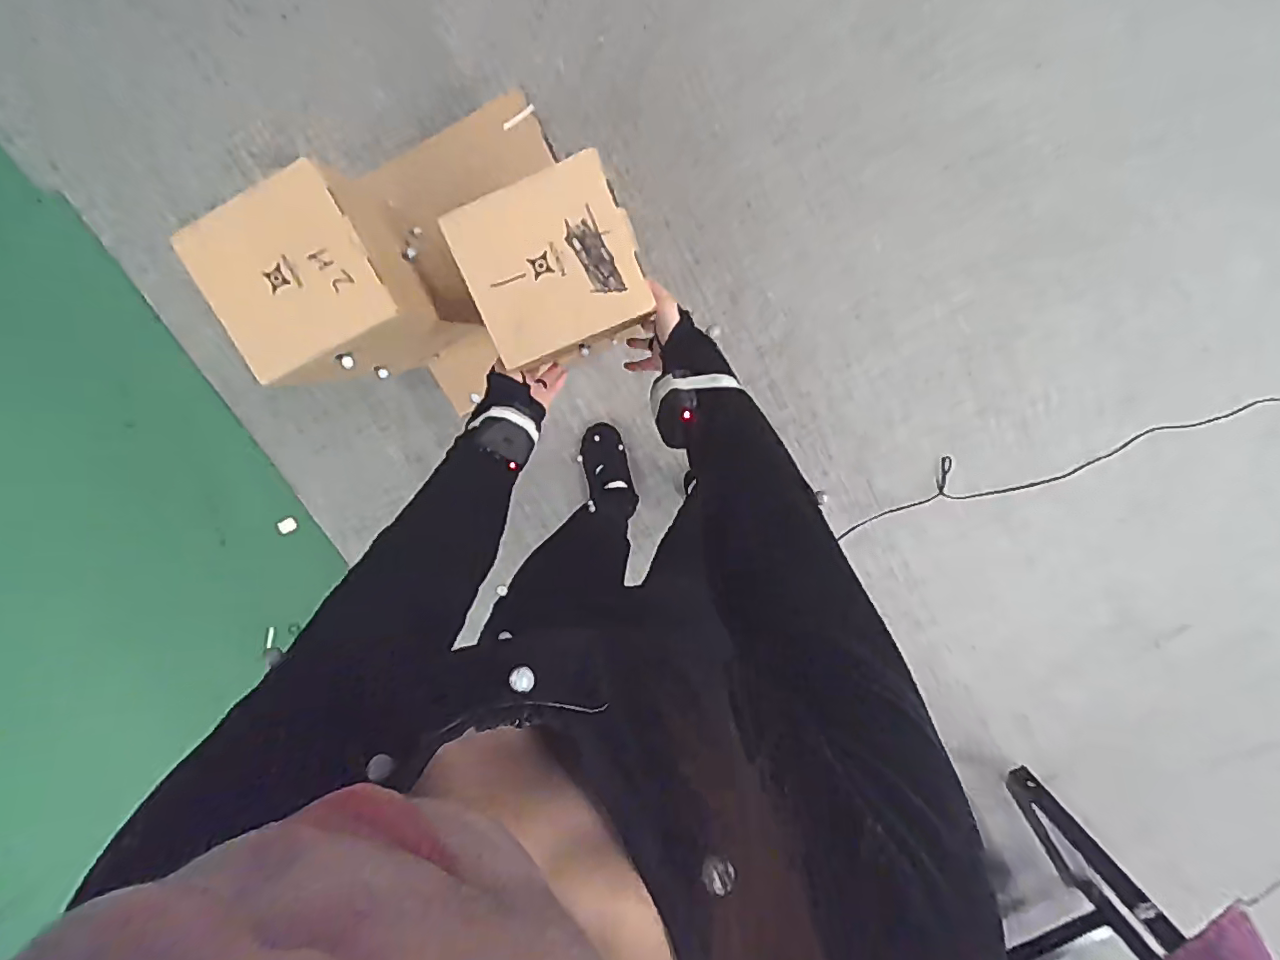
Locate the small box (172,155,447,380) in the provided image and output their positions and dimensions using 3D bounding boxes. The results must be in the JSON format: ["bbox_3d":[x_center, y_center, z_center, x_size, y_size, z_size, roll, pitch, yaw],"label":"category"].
[{"bbox_3d":[-0.360,-0.228,0.627,0.179,0.176,0.168,-25,102,6],"label":"small box"}]

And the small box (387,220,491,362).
[{"bbox_3d":[-0.365,-0.317,0.945,0.168,0.176,0.179,-23,101,6],"label":"small box"}]

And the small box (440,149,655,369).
[{"bbox_3d":[-0.093,-0.240,0.627,0.179,0.176,0.168,-22,102,5],"label":"small box"}]
